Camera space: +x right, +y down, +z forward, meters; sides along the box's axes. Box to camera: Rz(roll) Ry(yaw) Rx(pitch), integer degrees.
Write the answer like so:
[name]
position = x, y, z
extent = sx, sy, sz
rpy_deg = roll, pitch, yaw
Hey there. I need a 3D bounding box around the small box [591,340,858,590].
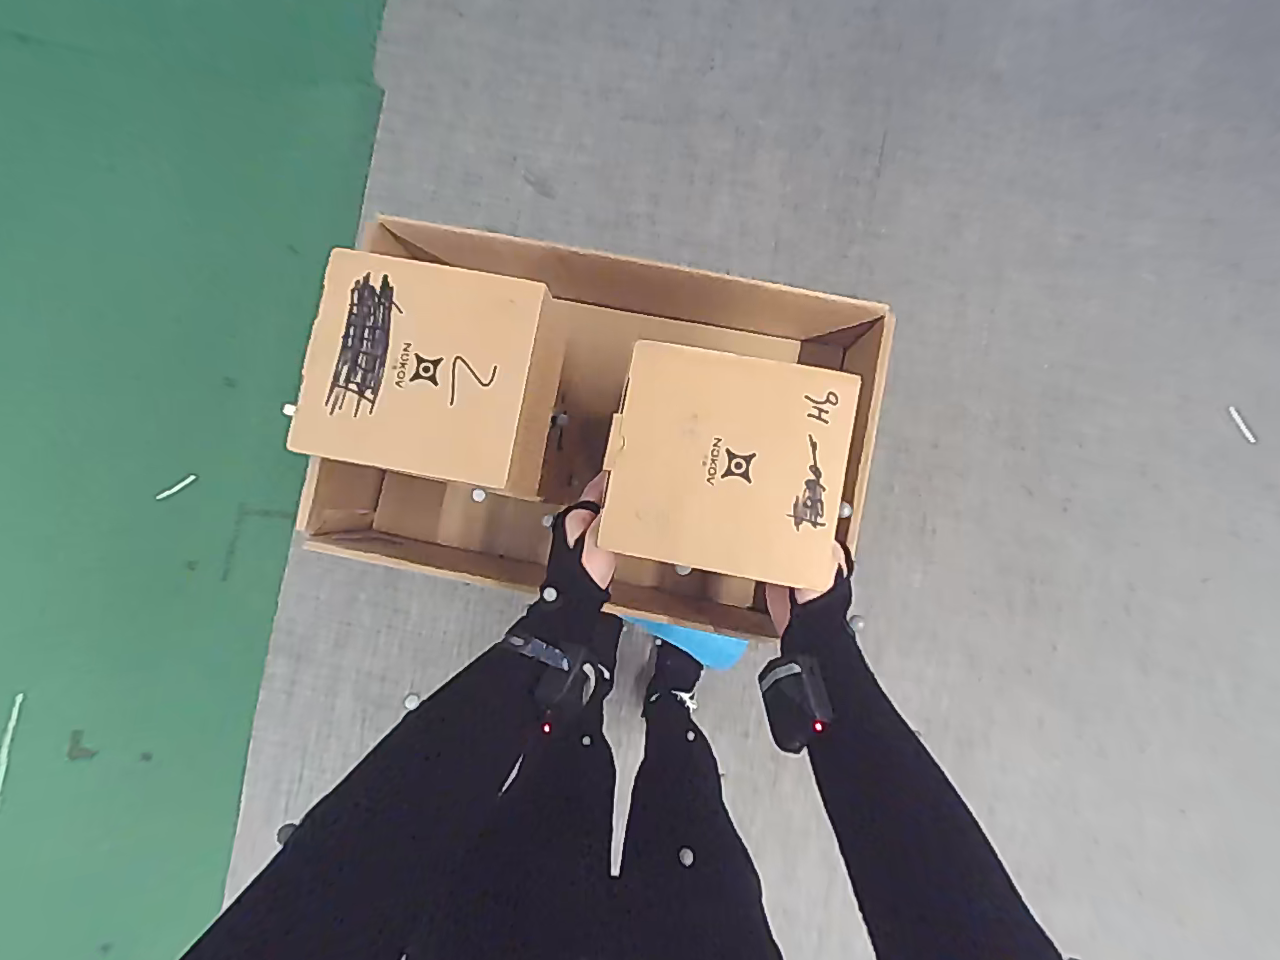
[small box]
position = 0.069, -0.009, 0.485
extent = 0.179, 0.176, 0.168
rpy_deg = 11, 88, 5
